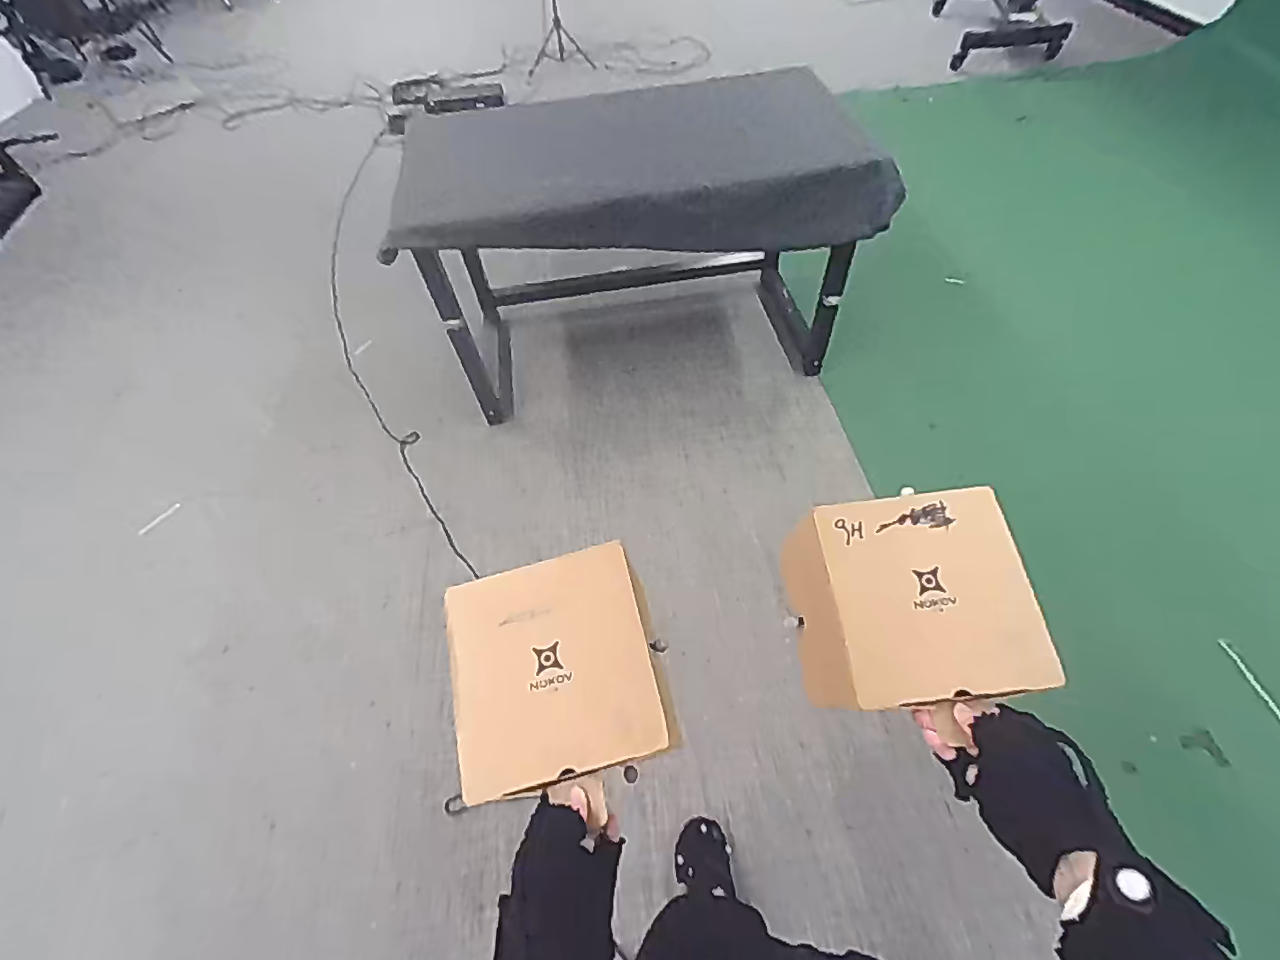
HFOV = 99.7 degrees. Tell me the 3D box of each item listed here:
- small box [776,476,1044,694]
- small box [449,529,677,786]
[{"bbox_3d":[0.247,0.112,0.547,0.168,0.176,0.179,-7,70,0],"label":"small box"},{"bbox_3d":[-0.065,0.173,0.527,0.168,0.176,0.179,-16,64,-1],"label":"small box"}]
